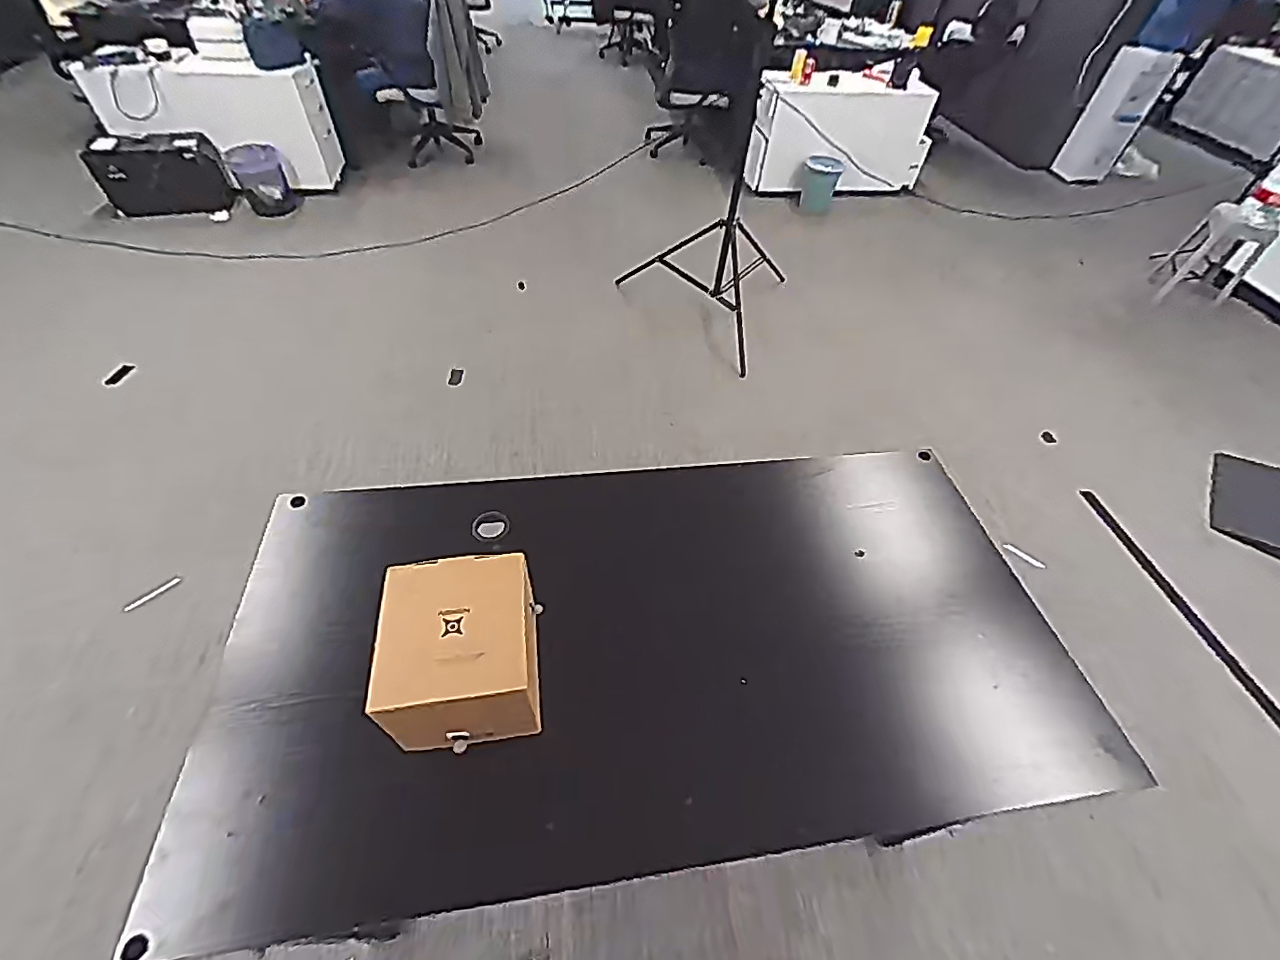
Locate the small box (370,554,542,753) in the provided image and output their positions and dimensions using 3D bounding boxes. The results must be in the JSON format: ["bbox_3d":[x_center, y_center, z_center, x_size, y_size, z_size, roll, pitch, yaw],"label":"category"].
[{"bbox_3d":[-0.218,0.219,0.683,0.168,0.176,0.179,-7,51,-8],"label":"small box"}]
